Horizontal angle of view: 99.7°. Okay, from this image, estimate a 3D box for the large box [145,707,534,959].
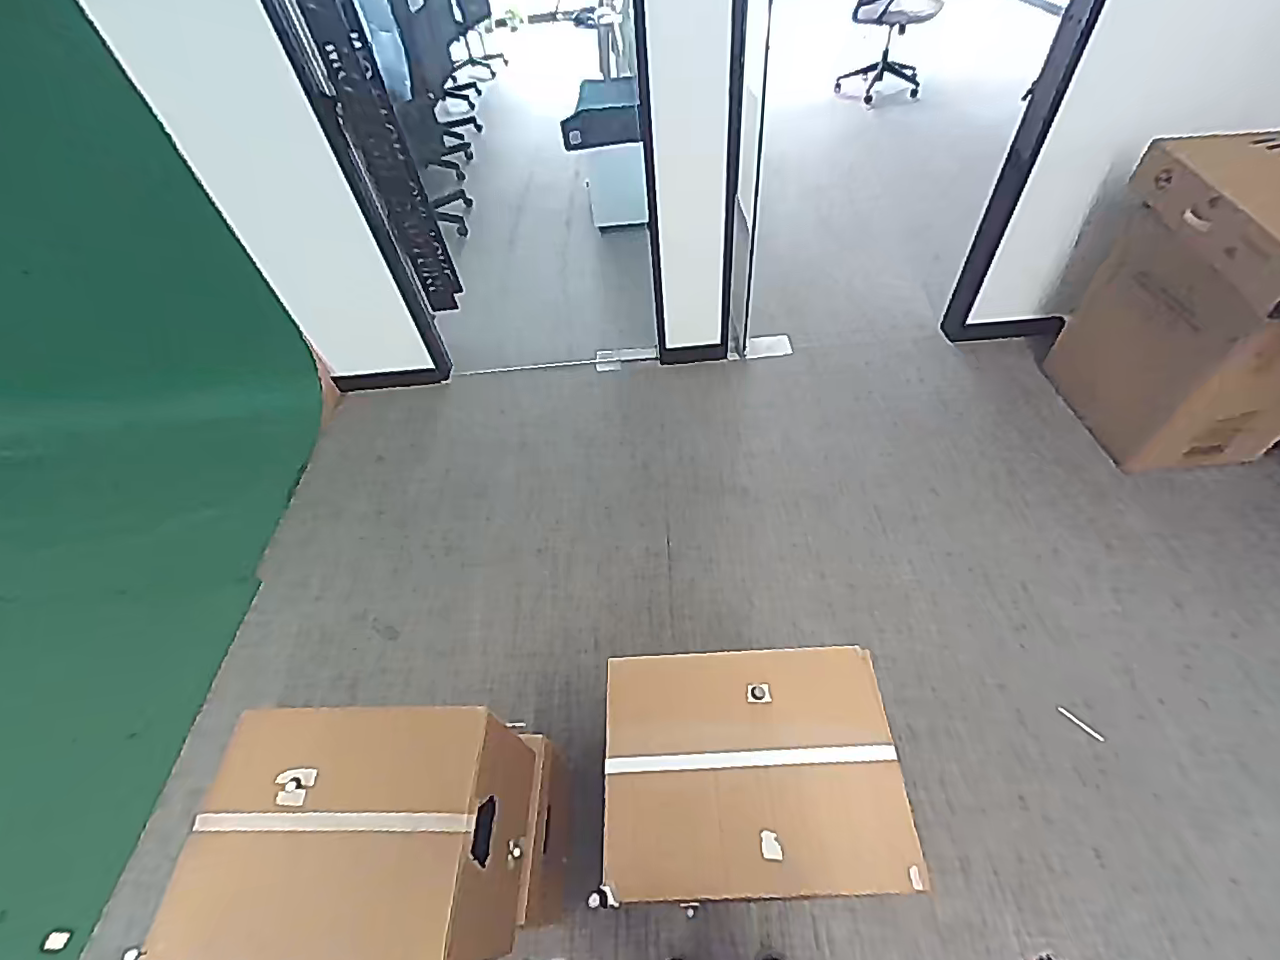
[{"bbox_3d":[-0.416,0.572,0.872,0.408,0.320,0.320,-3,52,5],"label":"large box"}]
